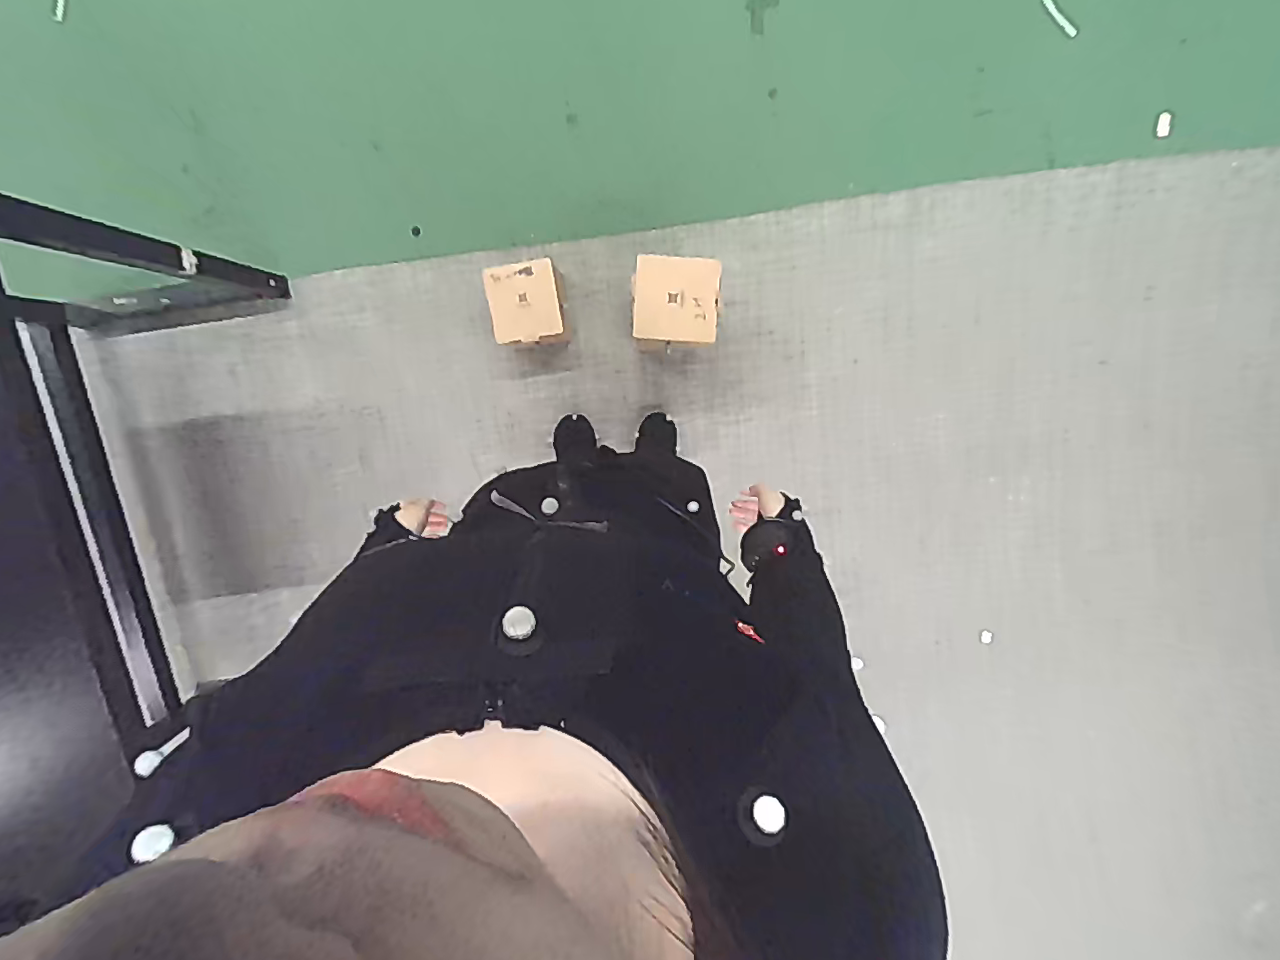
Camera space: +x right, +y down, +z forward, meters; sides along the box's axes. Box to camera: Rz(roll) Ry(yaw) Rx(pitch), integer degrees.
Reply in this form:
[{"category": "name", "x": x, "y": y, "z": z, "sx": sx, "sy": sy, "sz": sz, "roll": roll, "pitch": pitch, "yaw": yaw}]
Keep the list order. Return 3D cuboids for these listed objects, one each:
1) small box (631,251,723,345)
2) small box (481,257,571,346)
[{"category": "small box", "x": 0.074, "y": -0.383, "z": 1.163, "sx": 0.179, "sy": 0.176, "sz": 0.168, "roll": 4, "pitch": 101, "yaw": -1}, {"category": "small box", "x": -0.271, "y": -0.428, "z": 1.326, "sx": 0.168, "sy": 0.176, "sz": 0.179, "roll": -9, "pitch": 100, "yaw": 2}]
